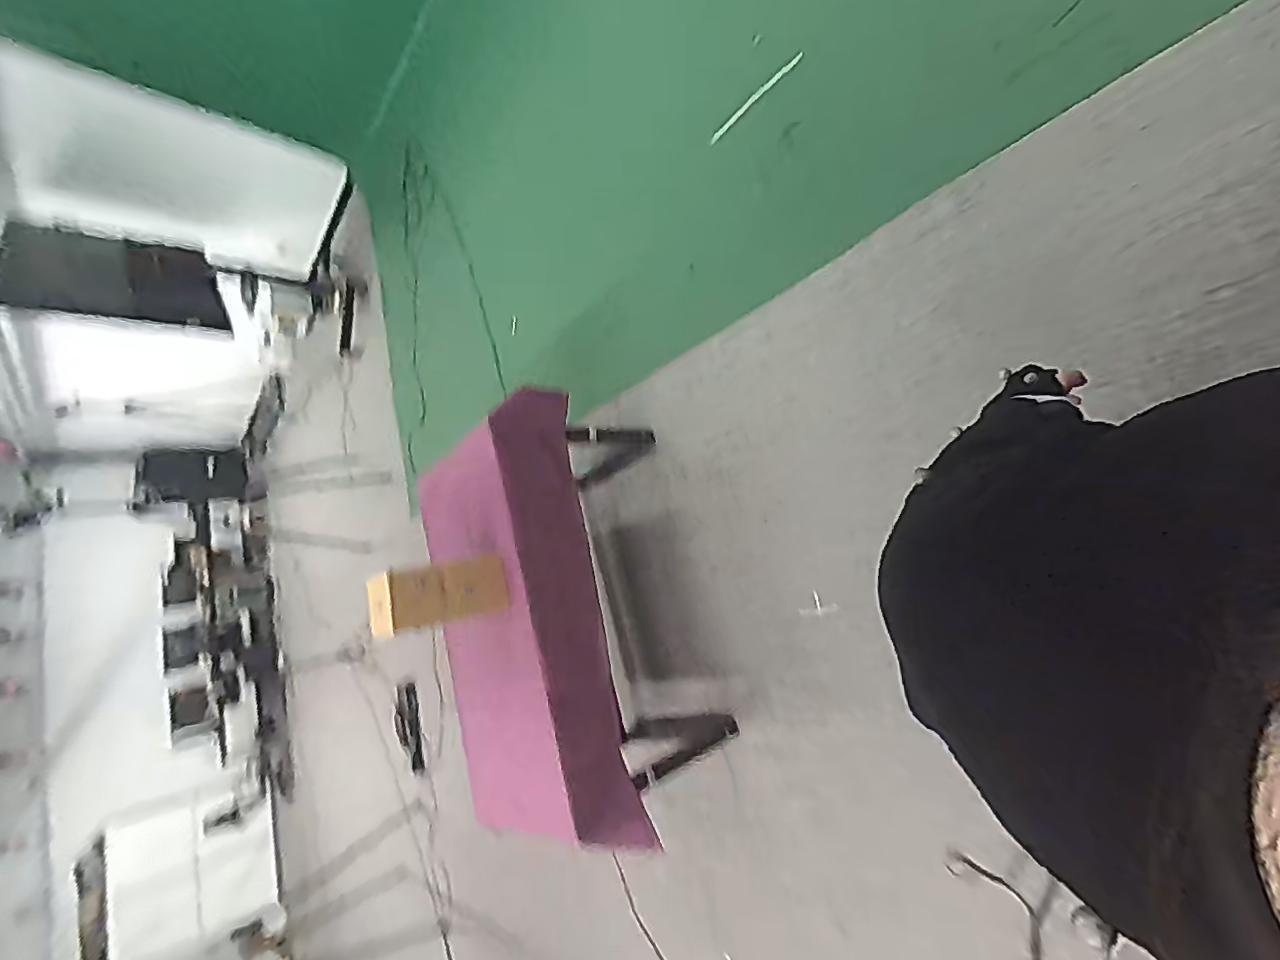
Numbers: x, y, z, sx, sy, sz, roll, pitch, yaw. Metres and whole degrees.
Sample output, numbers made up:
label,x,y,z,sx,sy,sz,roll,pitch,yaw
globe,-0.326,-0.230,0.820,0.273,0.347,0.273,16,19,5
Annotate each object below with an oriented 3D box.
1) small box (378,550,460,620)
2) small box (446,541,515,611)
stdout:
label,x,y,z,sx,sy,sz,roll,pitch,yaw
small box,-0.620,0.296,1.528,0.179,0.176,0.168,-18,78,47
small box,-0.494,0.289,1.632,0.168,0.176,0.179,-19,78,45
